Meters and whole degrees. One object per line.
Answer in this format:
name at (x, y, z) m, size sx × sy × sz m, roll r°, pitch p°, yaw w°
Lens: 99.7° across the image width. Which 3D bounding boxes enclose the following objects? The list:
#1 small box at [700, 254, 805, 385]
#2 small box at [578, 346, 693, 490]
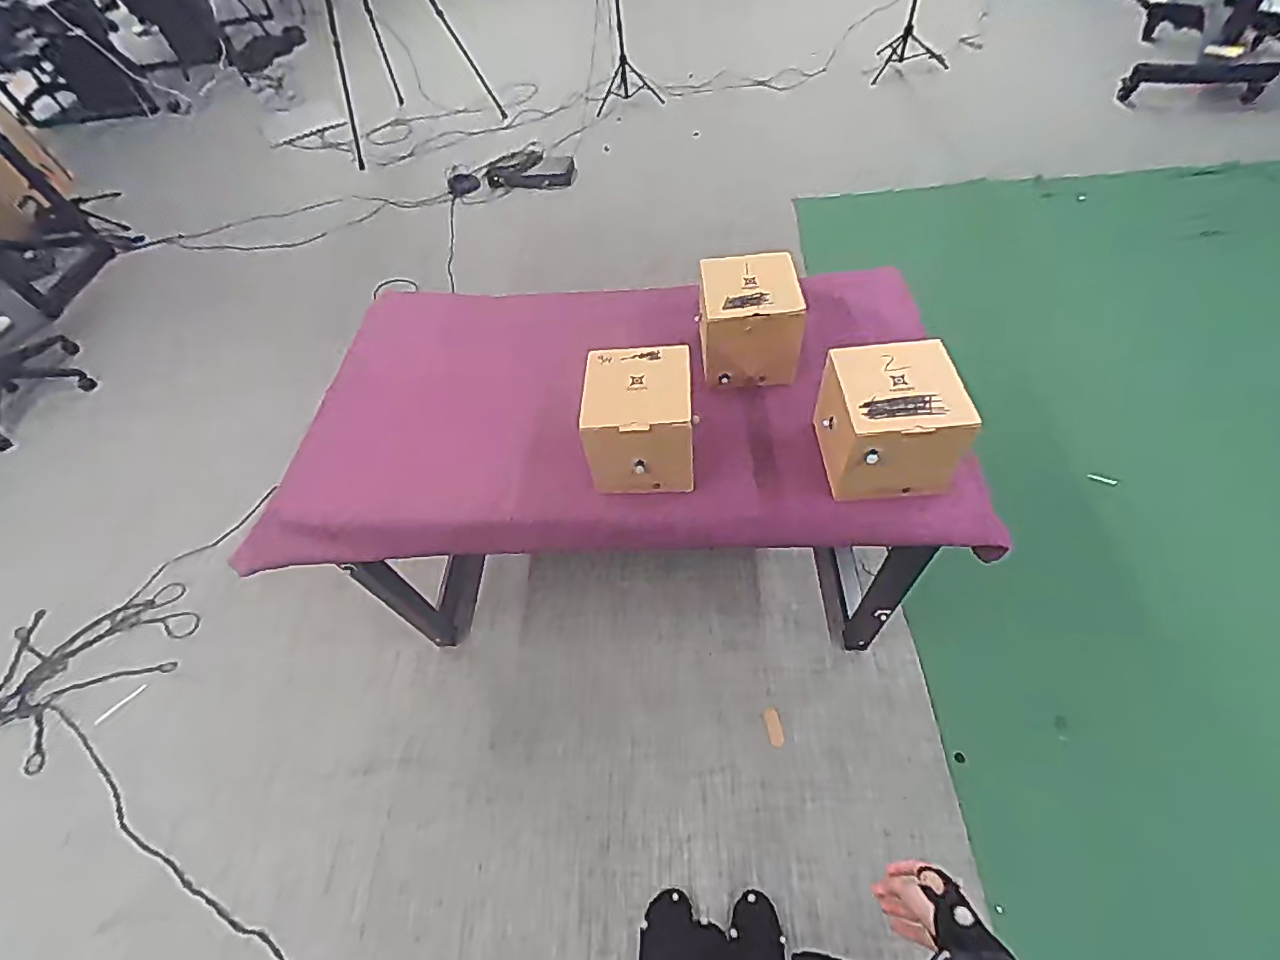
small box at (0.200, -0.290, 1.004) m, size 0.168 × 0.176 × 0.179 m, roll -3°, pitch 53°, yaw 4°
small box at (0.002, -0.095, 0.886) m, size 0.168 × 0.176 × 0.179 m, roll -1°, pitch 54°, yaw 5°
